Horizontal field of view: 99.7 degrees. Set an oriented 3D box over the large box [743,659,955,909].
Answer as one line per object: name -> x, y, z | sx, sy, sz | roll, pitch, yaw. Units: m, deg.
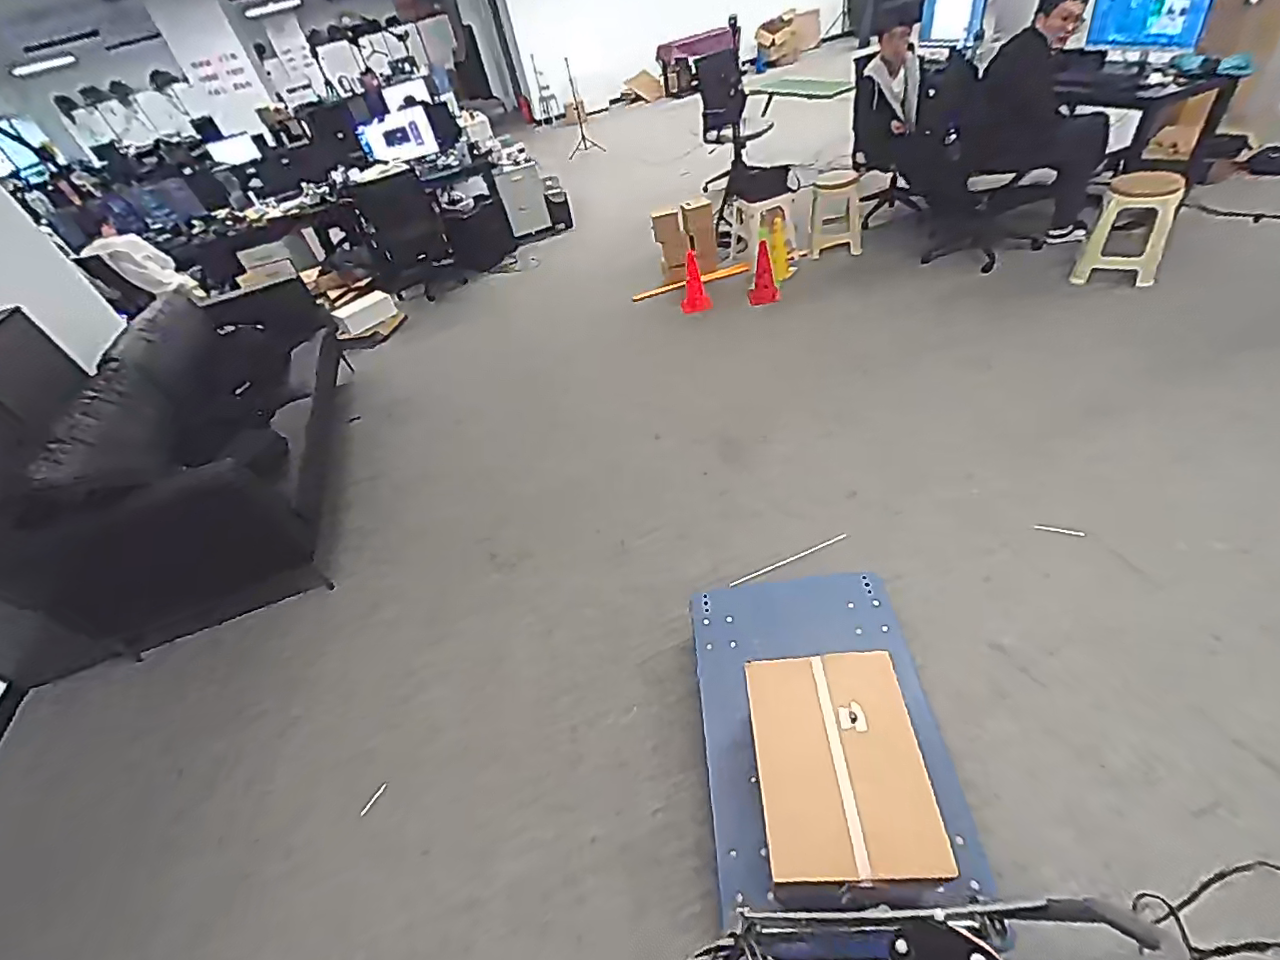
large box -> 0.414, 0.657, 1.173 | 0.320, 0.320, 0.408 | -7, 46, 8
